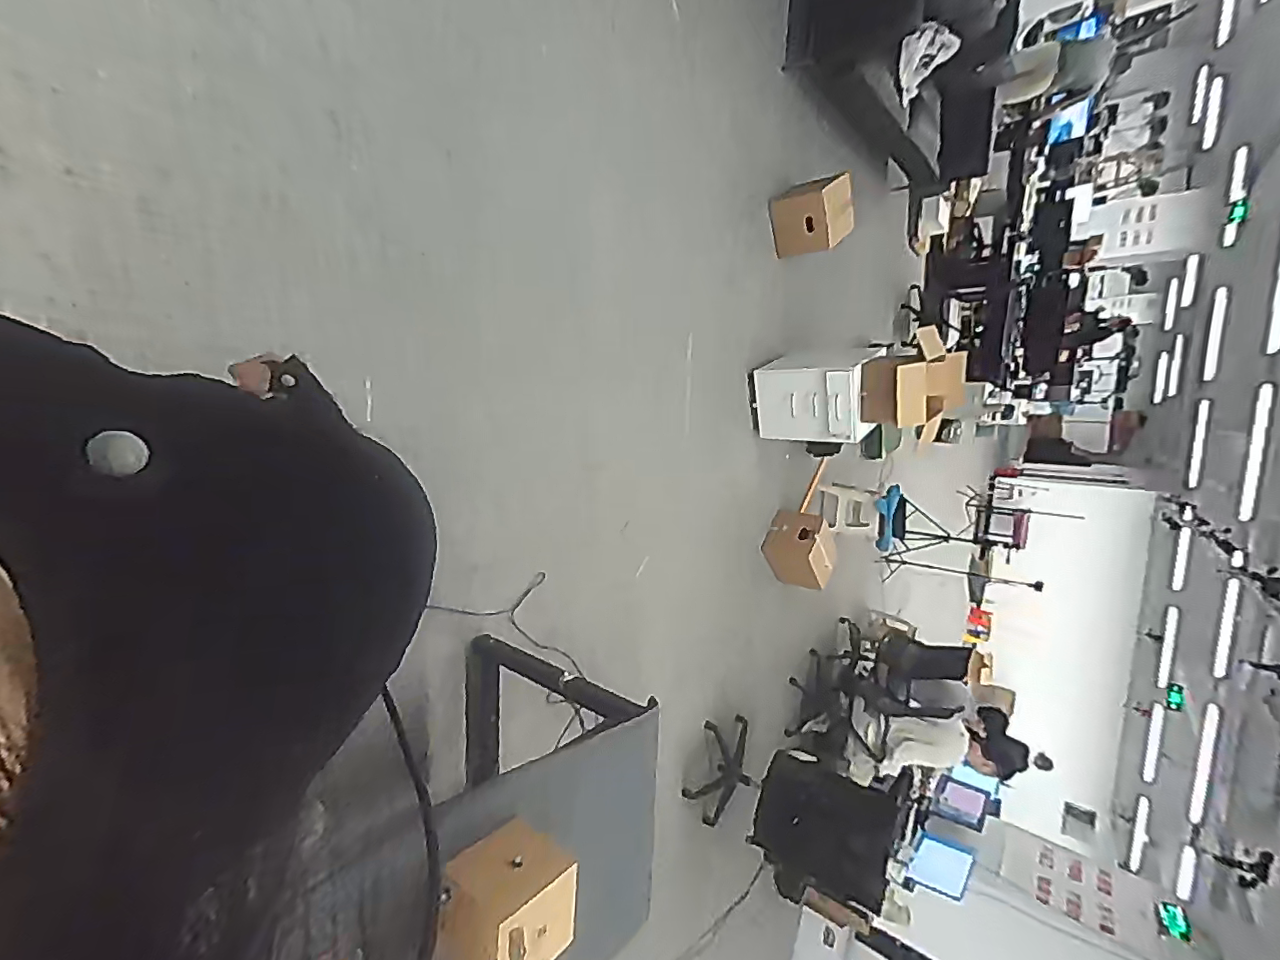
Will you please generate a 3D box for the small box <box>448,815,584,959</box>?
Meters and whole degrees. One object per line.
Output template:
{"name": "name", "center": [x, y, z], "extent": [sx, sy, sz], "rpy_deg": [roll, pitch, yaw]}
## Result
{"name": "small box", "center": [-0.222, 0.747, 0.960], "extent": [0.179, 0.176, 0.168], "rpy_deg": [-4, 101, -52]}
